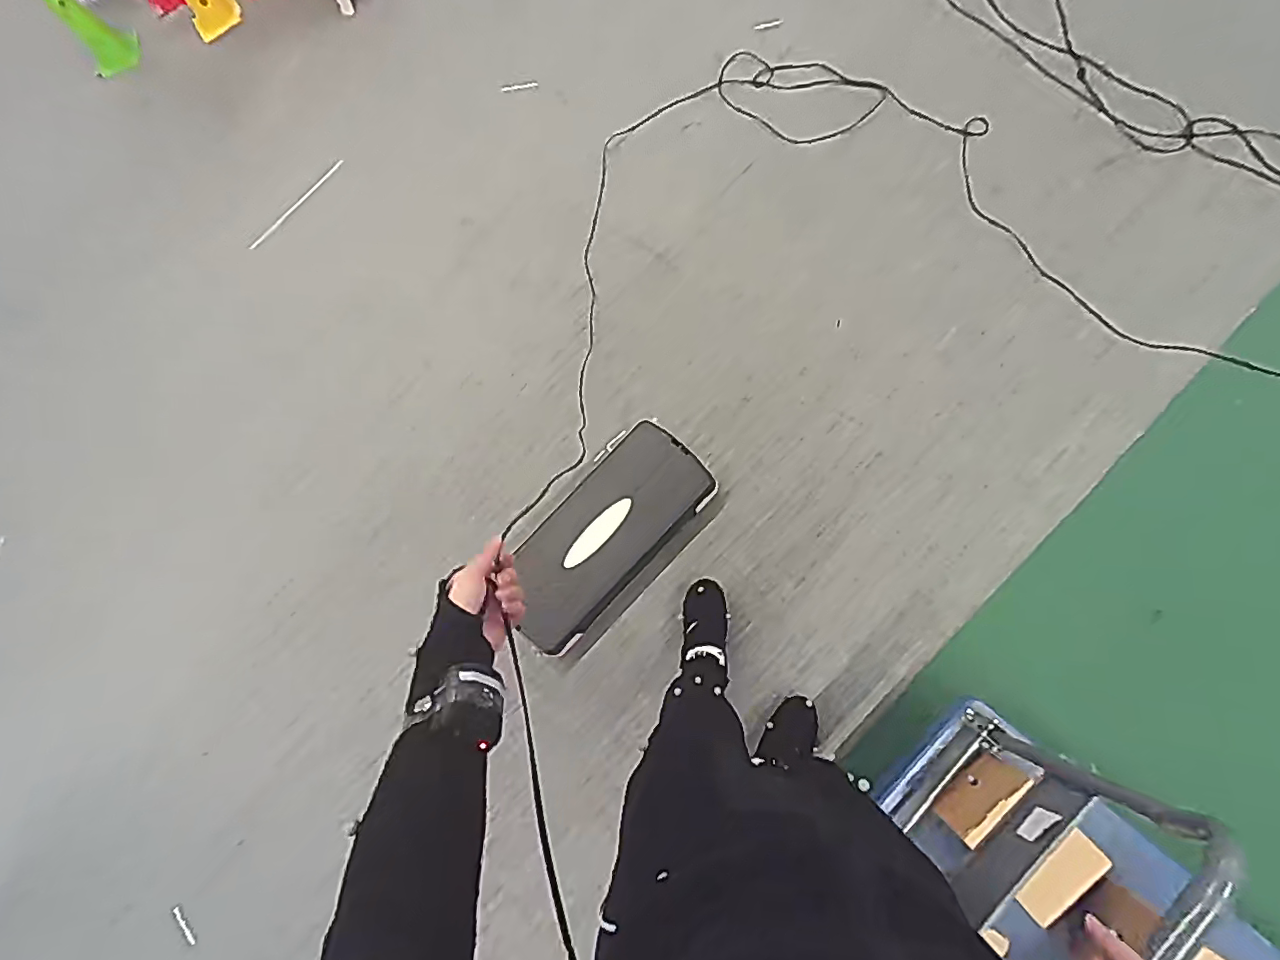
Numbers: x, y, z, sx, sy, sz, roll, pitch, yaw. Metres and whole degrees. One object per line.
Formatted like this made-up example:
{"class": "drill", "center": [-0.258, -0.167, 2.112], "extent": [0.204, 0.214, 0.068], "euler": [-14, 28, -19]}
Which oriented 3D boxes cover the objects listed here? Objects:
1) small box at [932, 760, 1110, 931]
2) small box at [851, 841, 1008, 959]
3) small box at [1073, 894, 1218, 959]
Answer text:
{"class": "small box", "center": [0.694, 0.664, 1.009], "extent": [0.168, 0.176, 0.179], "euler": [-41, 74, -1]}
{"class": "small box", "center": [0.516, 0.821, 0.998], "extent": [0.168, 0.176, 0.179], "euler": [39, 87, 16]}
{"class": "small box", "center": [0.908, 0.865, 0.928], "extent": [0.179, 0.176, 0.168], "euler": [33, 85, 15]}
